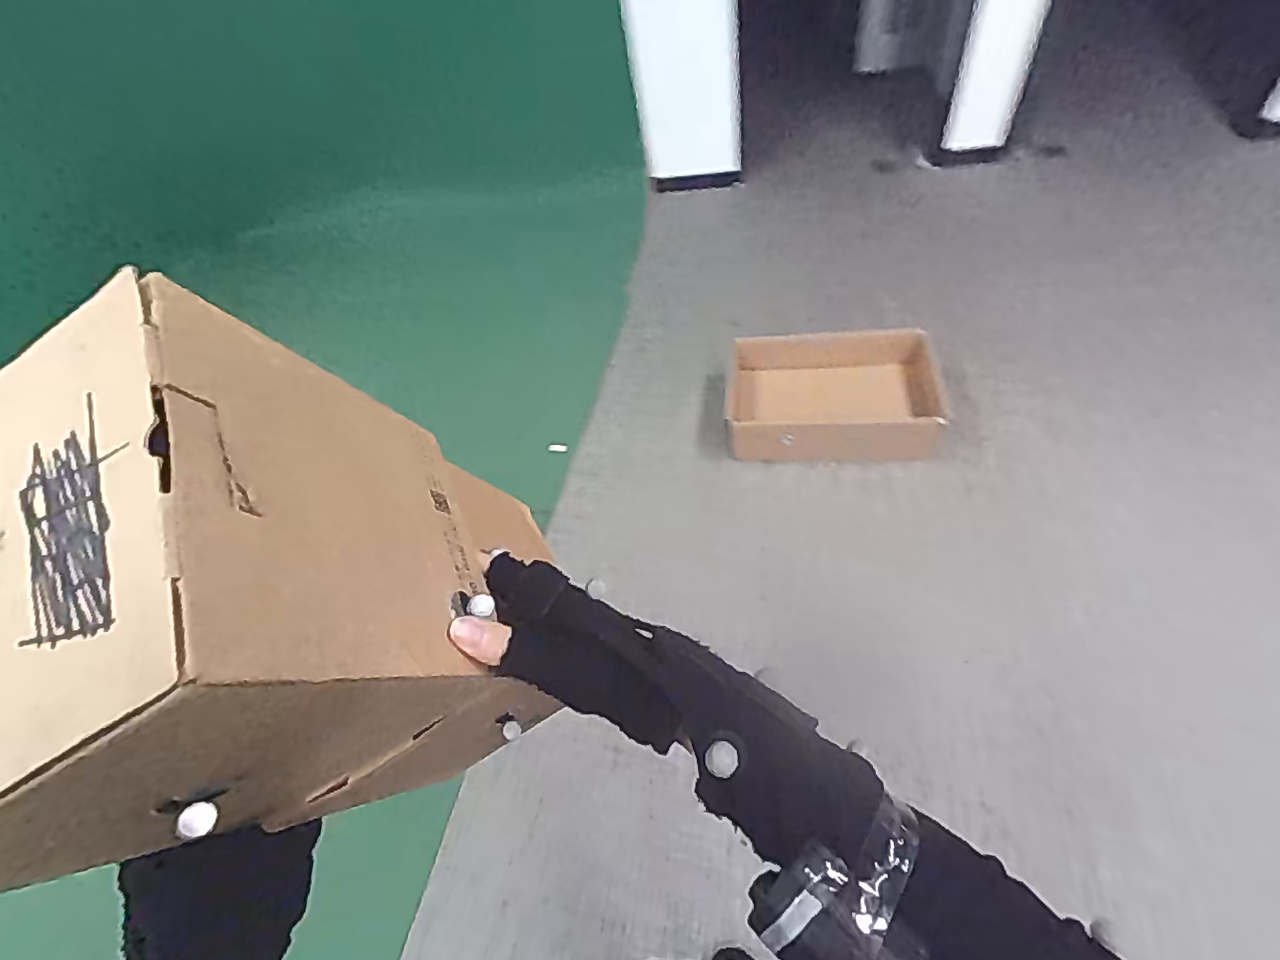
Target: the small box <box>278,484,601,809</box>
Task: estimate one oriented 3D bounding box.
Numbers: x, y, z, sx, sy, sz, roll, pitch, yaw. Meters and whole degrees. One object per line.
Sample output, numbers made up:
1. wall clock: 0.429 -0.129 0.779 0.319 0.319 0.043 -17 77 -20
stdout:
1. small box: -0.155 0.110 0.417 0.168 0.176 0.179 -33 63 5
